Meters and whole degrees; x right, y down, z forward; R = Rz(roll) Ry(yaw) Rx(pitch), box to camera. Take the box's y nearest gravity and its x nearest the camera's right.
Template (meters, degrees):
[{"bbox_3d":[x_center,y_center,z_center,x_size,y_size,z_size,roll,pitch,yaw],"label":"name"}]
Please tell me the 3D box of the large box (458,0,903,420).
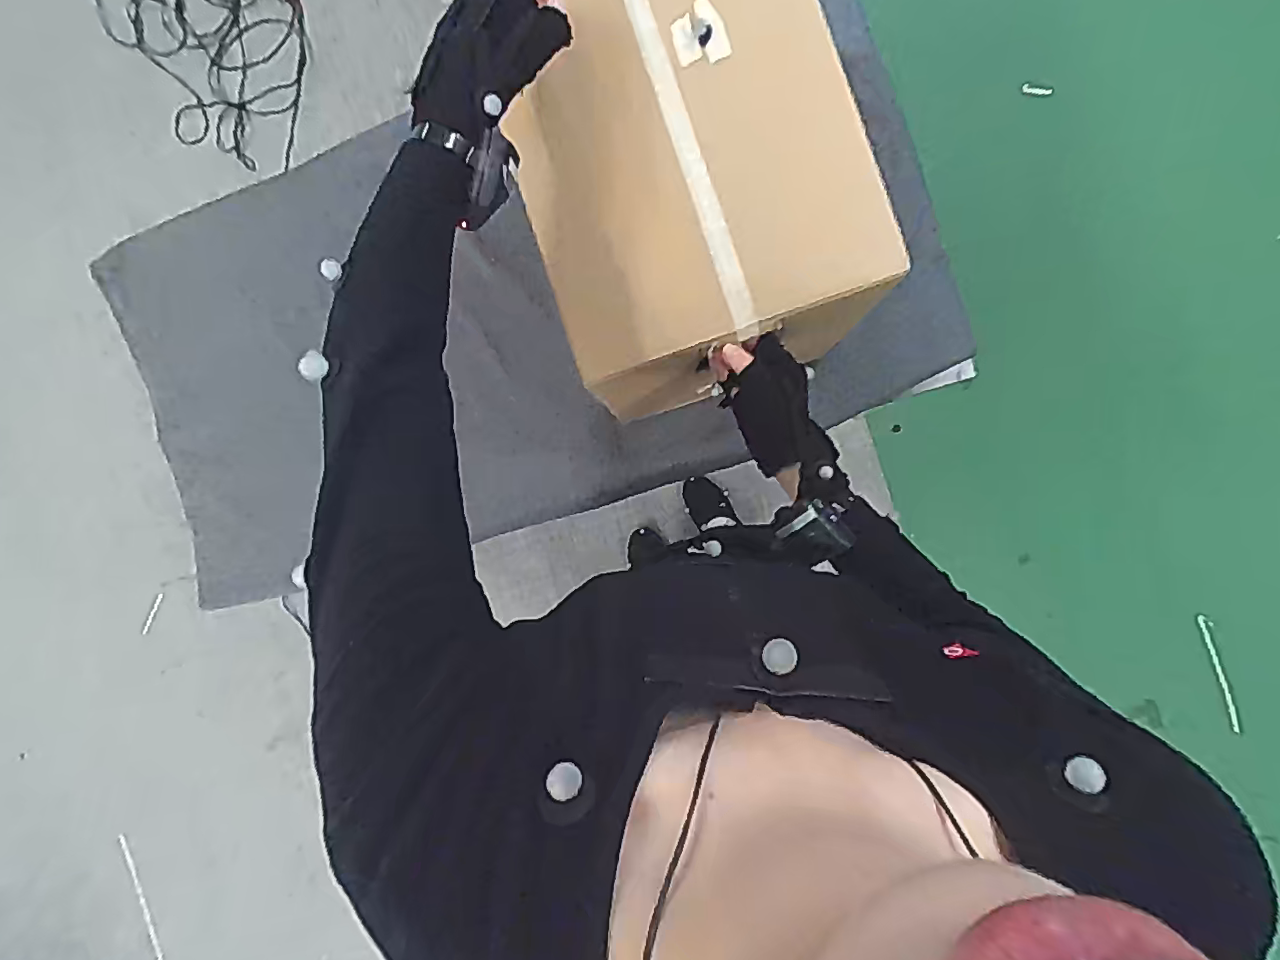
[{"bbox_3d":[0.045,-0.325,0.648,0.320,0.320,0.408,-18,87,5],"label":"large box"}]
